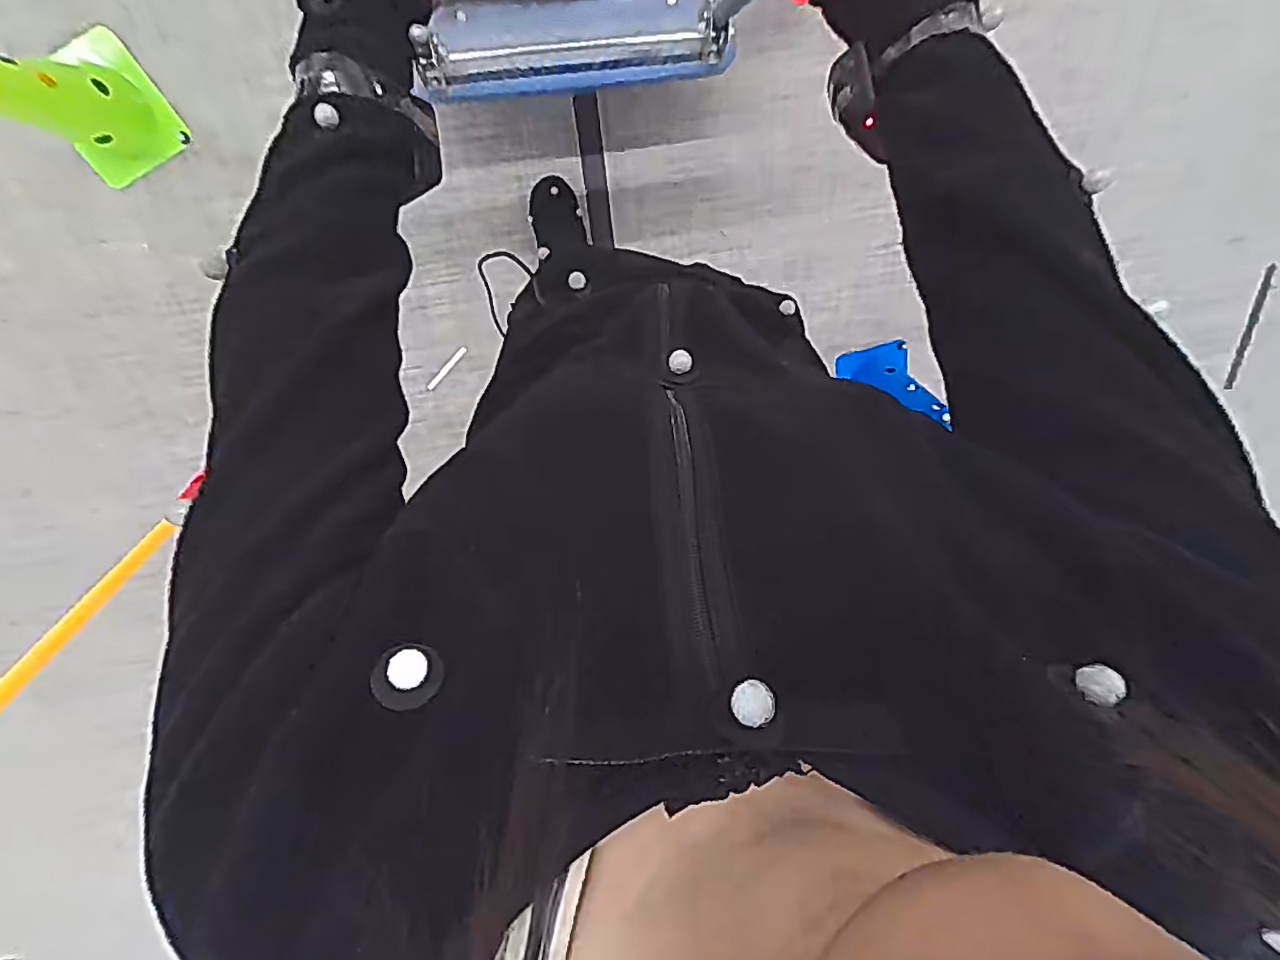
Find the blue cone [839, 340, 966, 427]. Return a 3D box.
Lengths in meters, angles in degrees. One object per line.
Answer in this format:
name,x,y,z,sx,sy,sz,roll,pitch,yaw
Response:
blue cone,0.660,-0.202,1.328,0.193,0.380,0.192,-14,117,-2

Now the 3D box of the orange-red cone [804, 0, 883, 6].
orange-red cone,0.430,-0.967,0.891,0.199,0.360,0.198,-5,118,-8
